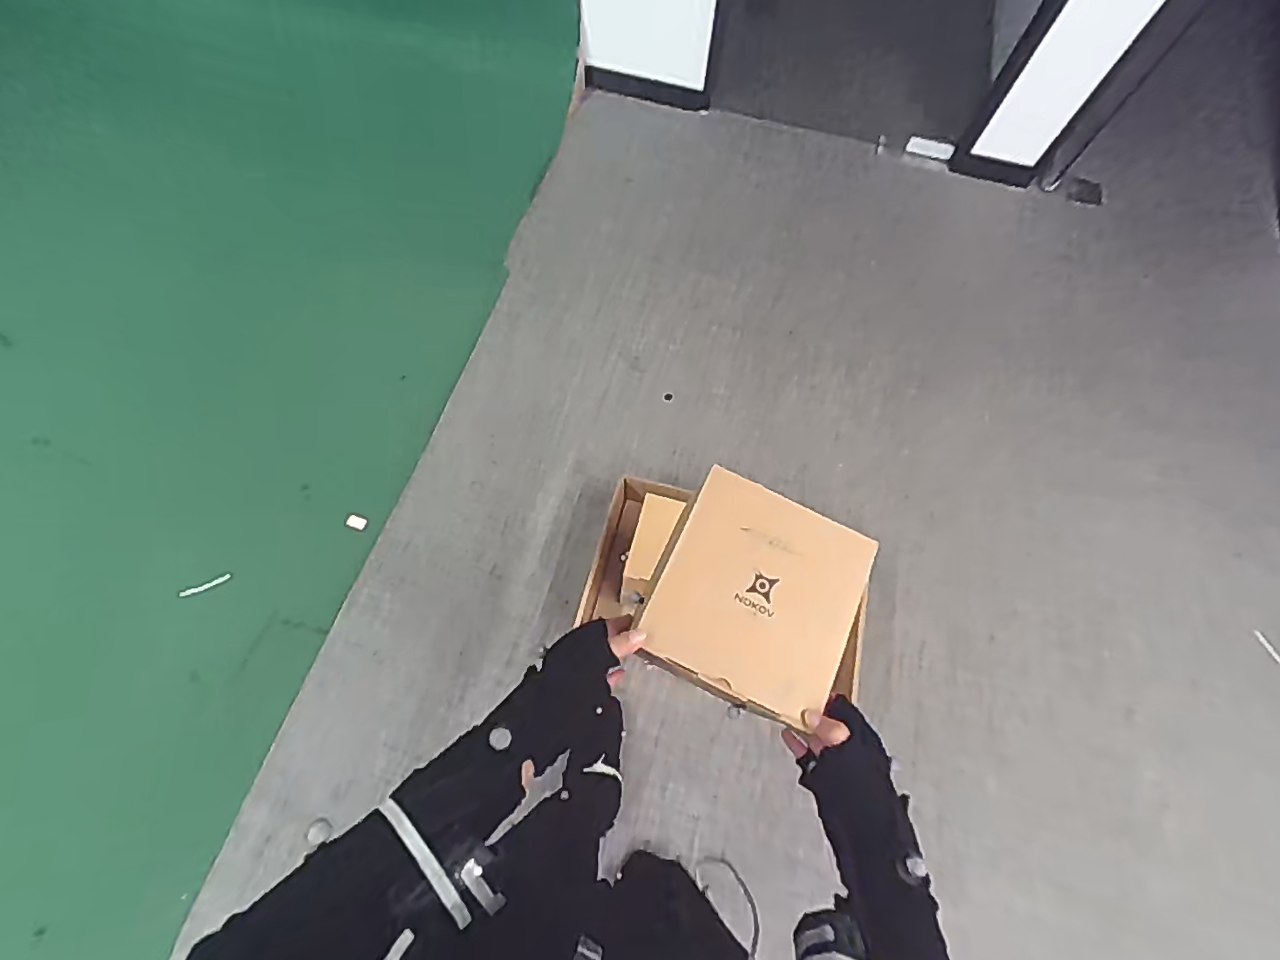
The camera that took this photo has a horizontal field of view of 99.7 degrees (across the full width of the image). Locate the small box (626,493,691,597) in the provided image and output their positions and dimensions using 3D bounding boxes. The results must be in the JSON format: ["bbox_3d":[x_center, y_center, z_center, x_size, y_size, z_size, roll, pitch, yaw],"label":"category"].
[{"bbox_3d":[0.070,0.153,1.110,0.168,0.176,0.179,15,68,3],"label":"small box"}]

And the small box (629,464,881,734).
[{"bbox_3d":[0.097,0.118,0.532,0.168,0.176,0.179,27,71,3],"label":"small box"}]
